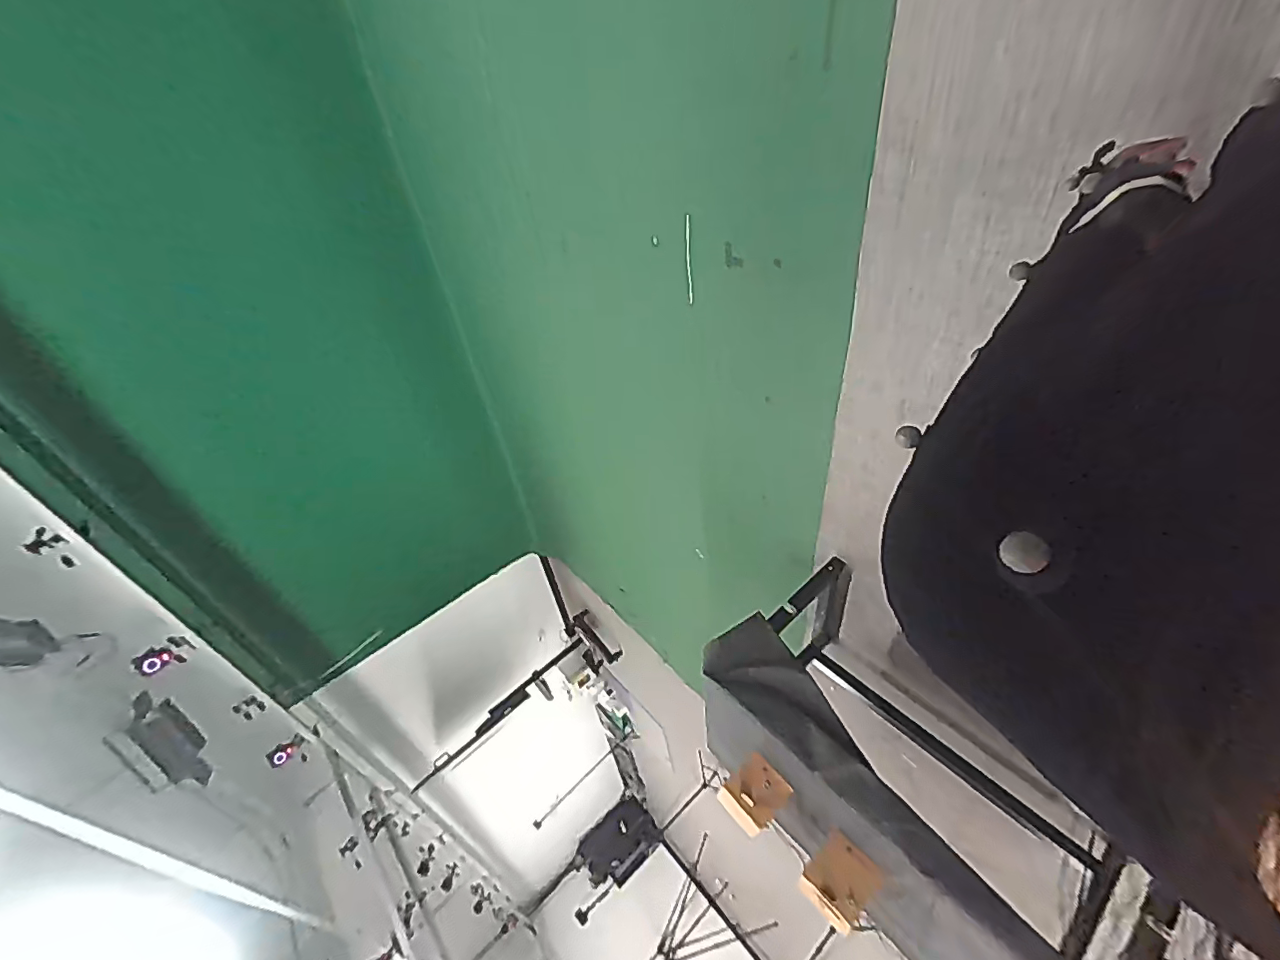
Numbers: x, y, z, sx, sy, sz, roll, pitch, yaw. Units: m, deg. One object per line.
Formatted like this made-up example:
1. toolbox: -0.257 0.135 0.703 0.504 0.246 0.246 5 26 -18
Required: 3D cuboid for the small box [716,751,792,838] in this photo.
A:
1. small box: 0.376 1.039 1.789 0.168 0.176 0.179 42 150 29
